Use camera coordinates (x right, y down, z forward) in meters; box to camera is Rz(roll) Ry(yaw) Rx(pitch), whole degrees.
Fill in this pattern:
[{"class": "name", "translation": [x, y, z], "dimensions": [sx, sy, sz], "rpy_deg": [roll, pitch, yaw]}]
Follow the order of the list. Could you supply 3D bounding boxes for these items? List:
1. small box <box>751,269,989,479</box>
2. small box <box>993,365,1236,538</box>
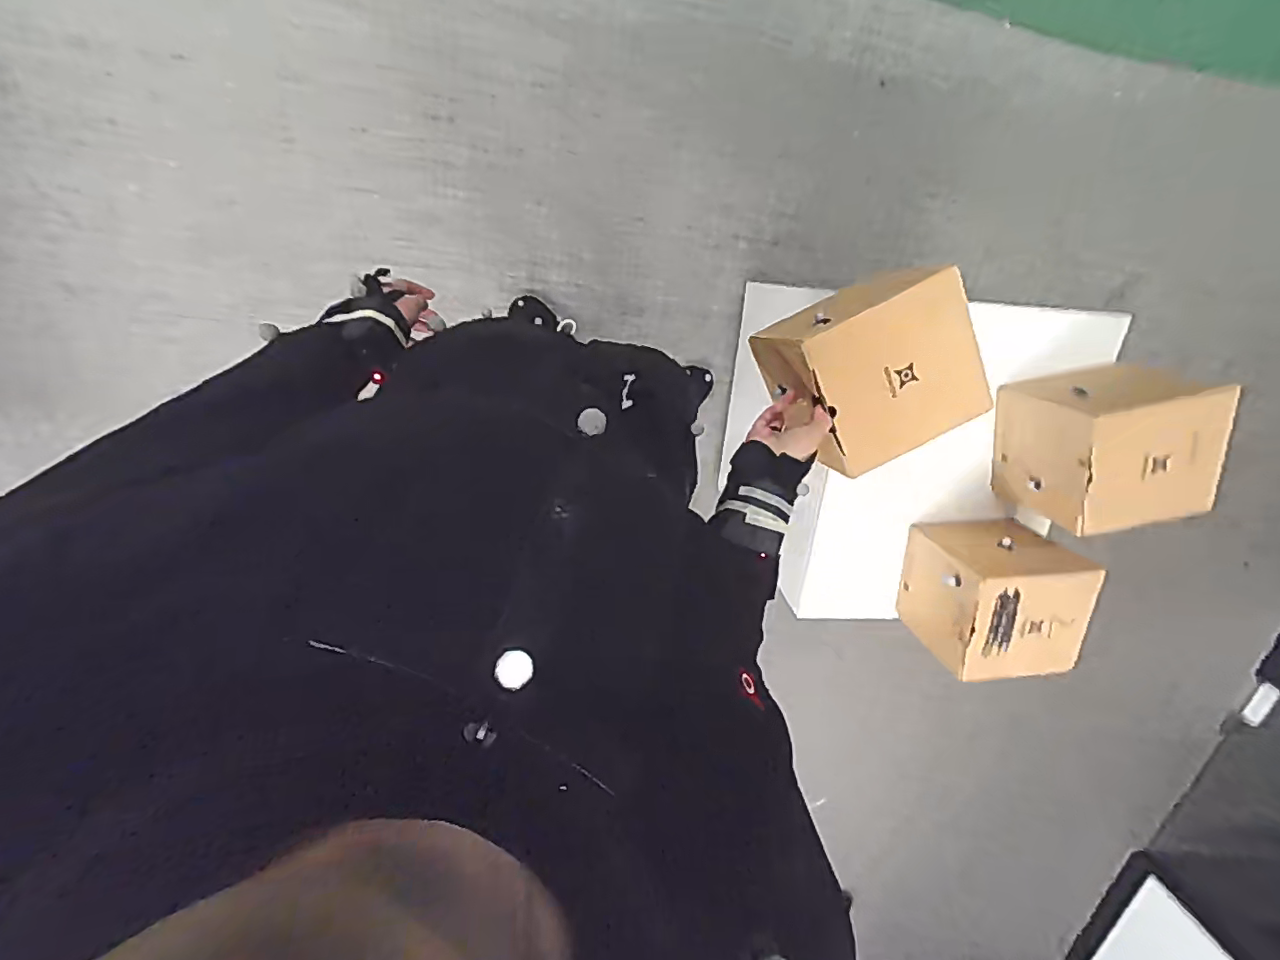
[{"class": "small box", "translation": [0.259, -0.130, 0.638], "dimensions": [0.179, 0.176, 0.168], "rpy_deg": [-27, 109, 1]}, {"class": "small box", "translation": [0.618, -0.047, 0.732], "dimensions": [0.179, 0.176, 0.168], "rpy_deg": [-13, 113, -2]}]
